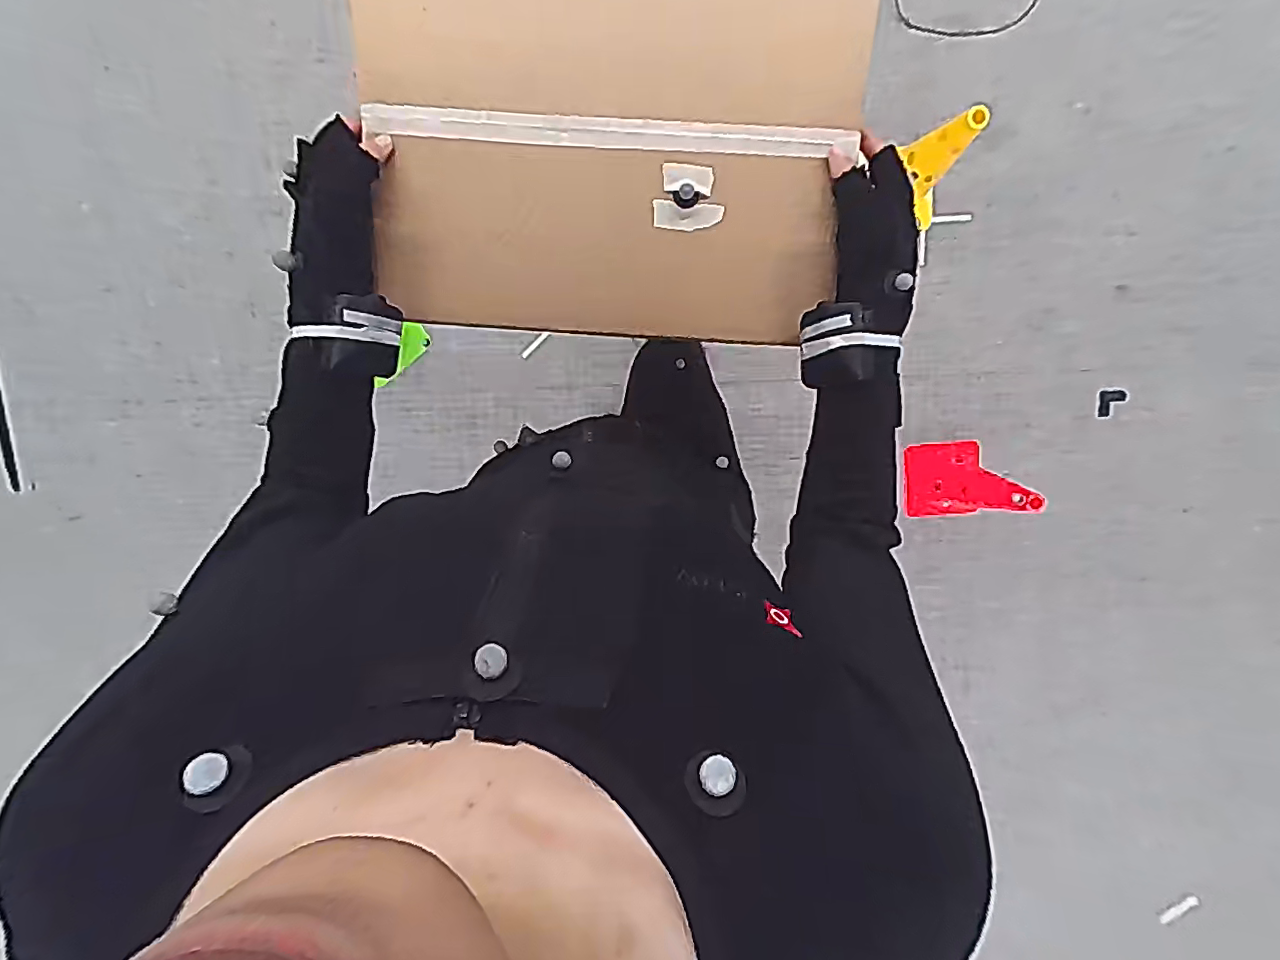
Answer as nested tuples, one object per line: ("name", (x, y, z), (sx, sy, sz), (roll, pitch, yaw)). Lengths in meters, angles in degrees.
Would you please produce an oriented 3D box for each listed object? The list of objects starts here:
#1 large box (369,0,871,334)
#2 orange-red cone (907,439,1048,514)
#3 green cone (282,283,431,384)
("large box", (-0.021, -0.329, 0.592), (0.408, 0.320, 0.320), (3, 105, 0))
("orange-red cone", (0.814, 0.014, 1.279), (0.198, 0.360, 0.199), (-4, 97, 0))
("green cone", (-0.678, -0.354, 1.239), (0.202, 0.368, 0.200), (-38, 96, 7))
